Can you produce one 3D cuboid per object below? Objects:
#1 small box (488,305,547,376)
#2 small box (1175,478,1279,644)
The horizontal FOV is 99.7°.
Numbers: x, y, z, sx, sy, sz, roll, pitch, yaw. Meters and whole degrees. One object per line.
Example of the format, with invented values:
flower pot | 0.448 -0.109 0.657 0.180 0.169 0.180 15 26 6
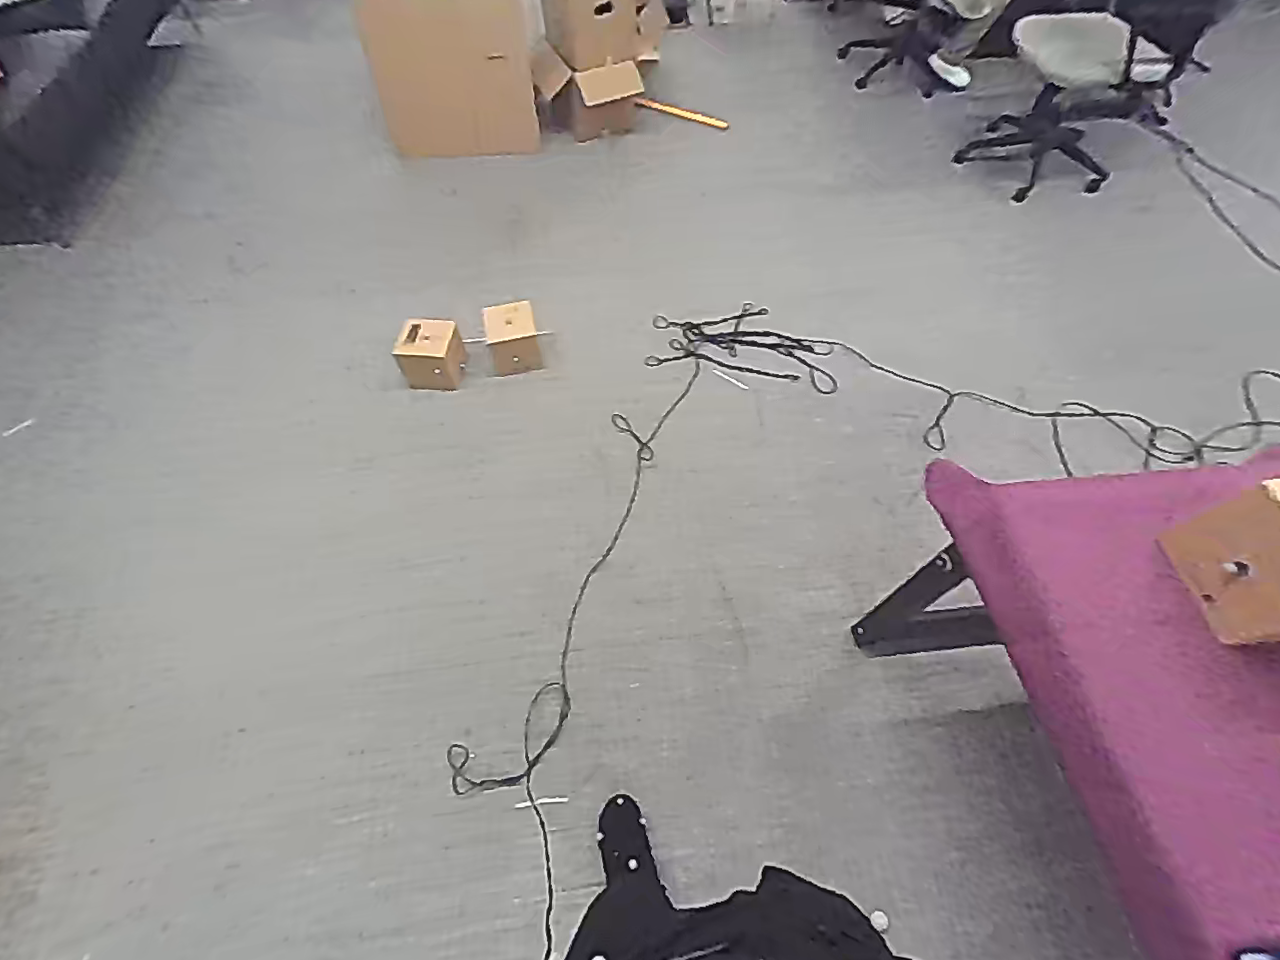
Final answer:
small box | -0.429 -0.485 1.910 0.168 0.176 0.179 -12 59 -6
small box | 0.857 0.105 0.691 0.179 0.176 0.168 -4 59 -1
